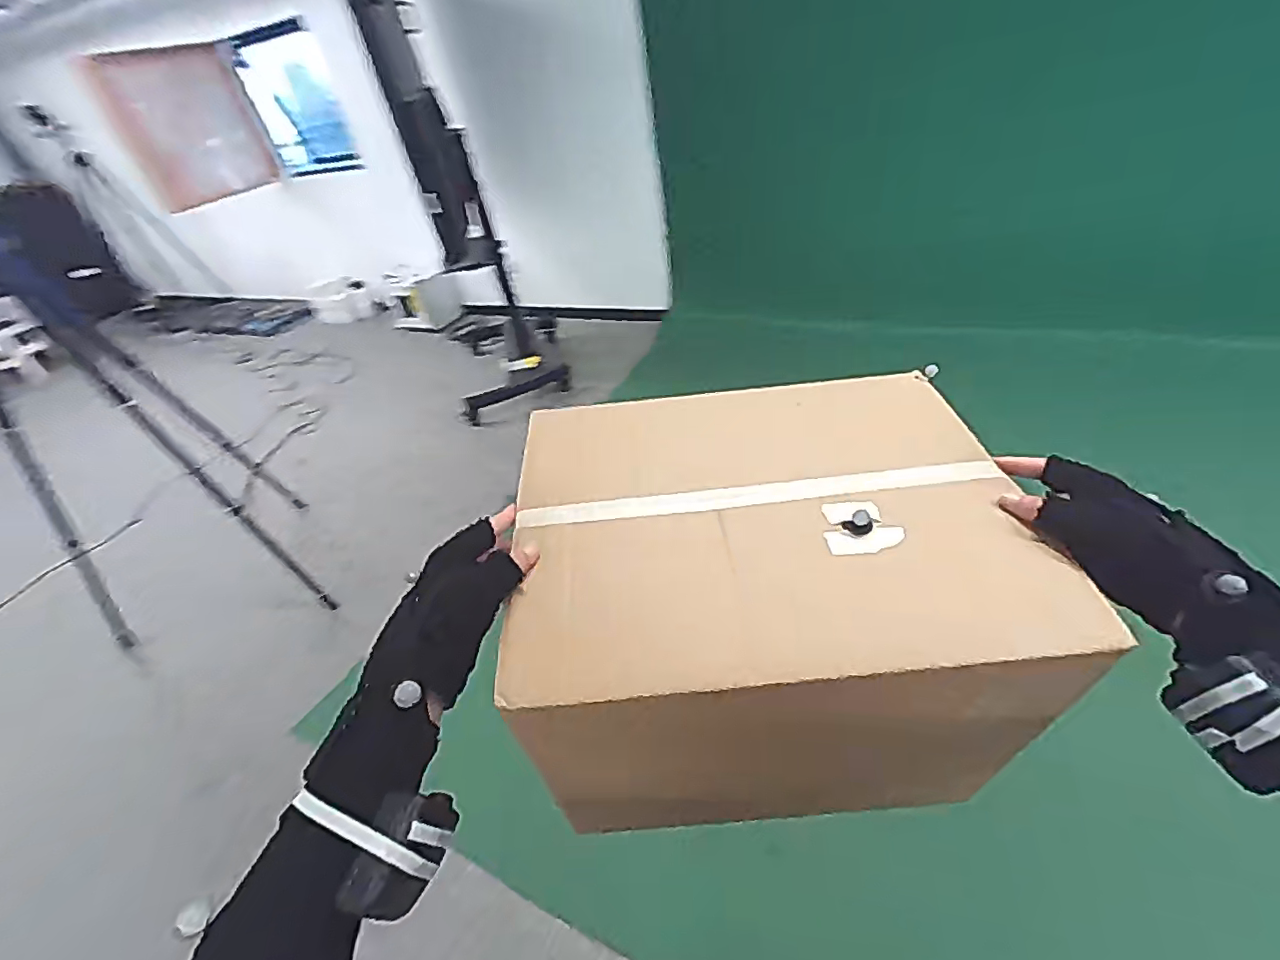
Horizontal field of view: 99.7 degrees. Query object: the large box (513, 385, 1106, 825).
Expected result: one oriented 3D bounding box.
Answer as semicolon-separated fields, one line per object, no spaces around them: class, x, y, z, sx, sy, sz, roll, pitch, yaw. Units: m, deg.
large box;0.112;0.128;0.564;0.408;0.320;0.320;-5;44;1
